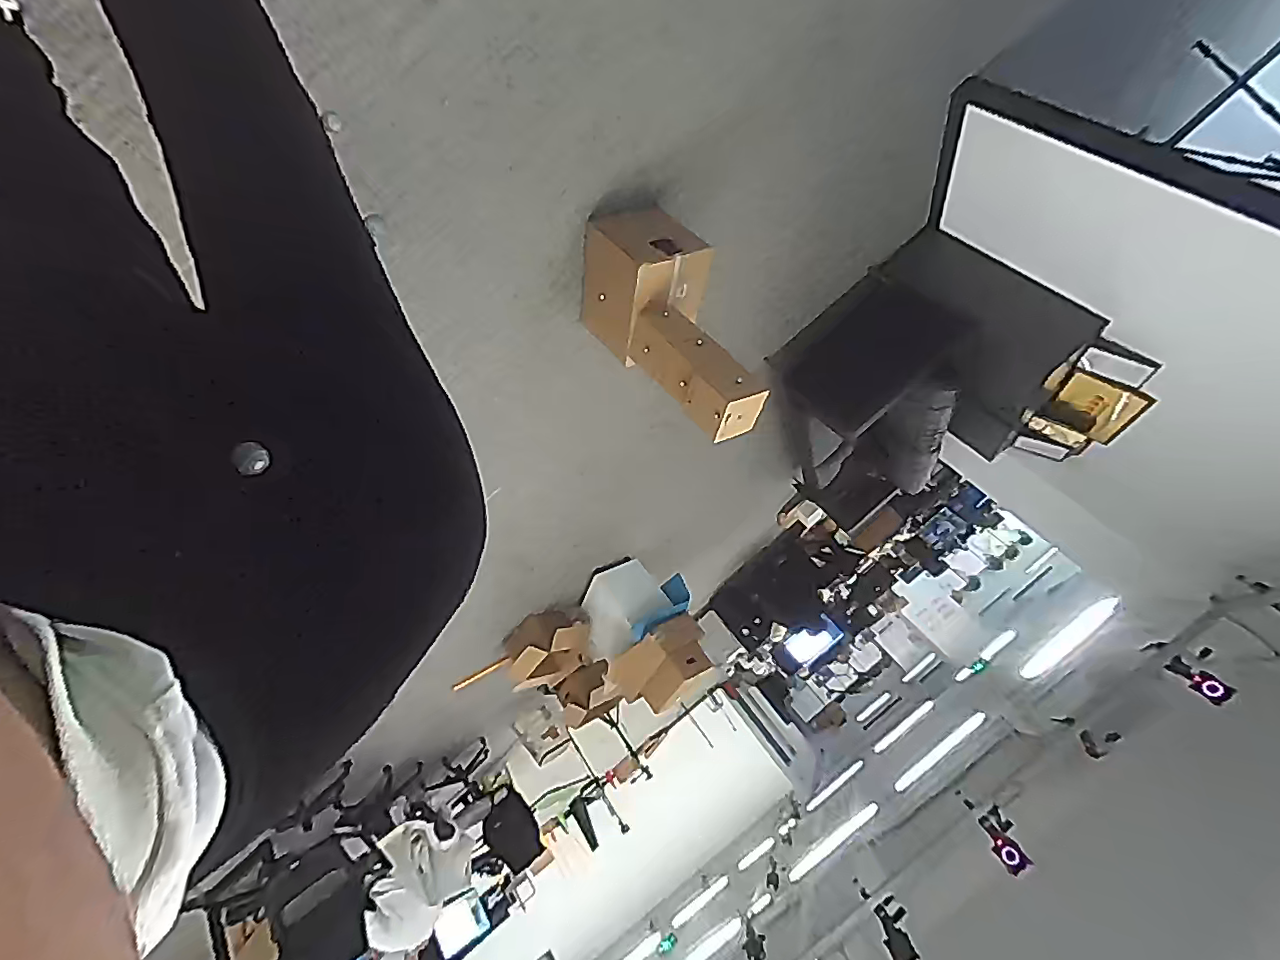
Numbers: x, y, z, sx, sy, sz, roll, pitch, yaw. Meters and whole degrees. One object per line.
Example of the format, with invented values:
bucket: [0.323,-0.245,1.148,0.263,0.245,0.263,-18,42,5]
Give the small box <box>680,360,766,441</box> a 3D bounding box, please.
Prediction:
small box: [0.256,-0.255,1.702,0.179,0.176,0.168,-22,146,-31]

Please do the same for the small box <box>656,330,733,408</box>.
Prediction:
small box: [0.173,-0.367,1.790,0.168,0.176,0.179,-22,147,-30]

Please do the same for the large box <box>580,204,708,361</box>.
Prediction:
large box: [-0.004,-0.710,1.949,0.320,0.320,0.408,-26,149,-27]
